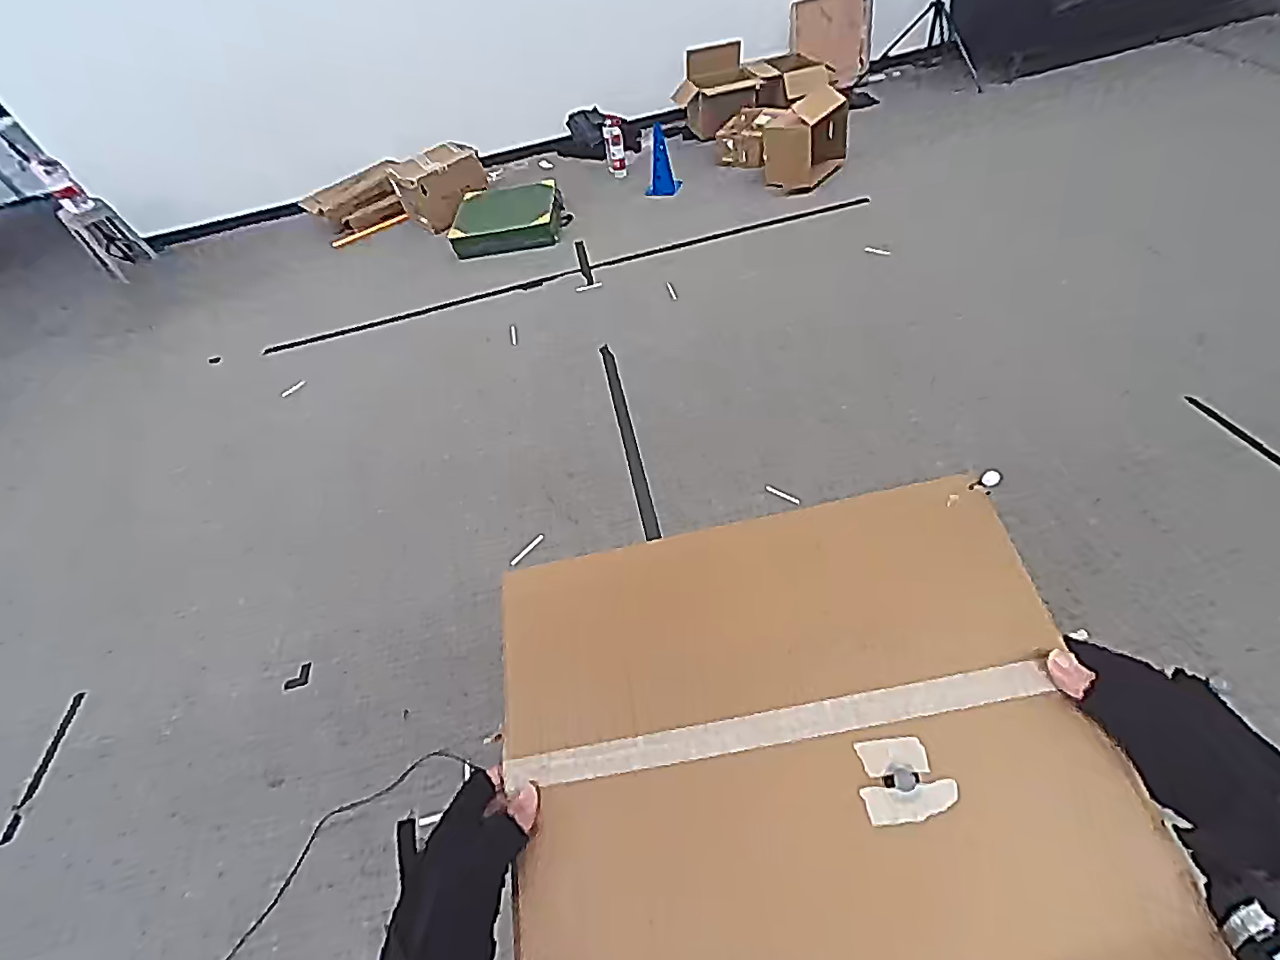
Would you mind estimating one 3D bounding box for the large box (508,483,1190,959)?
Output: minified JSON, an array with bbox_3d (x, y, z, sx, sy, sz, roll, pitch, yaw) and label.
[{"bbox_3d":[0.125,0.248,0.524,0.408,0.320,0.320,-13,61,4],"label":"large box"}]
